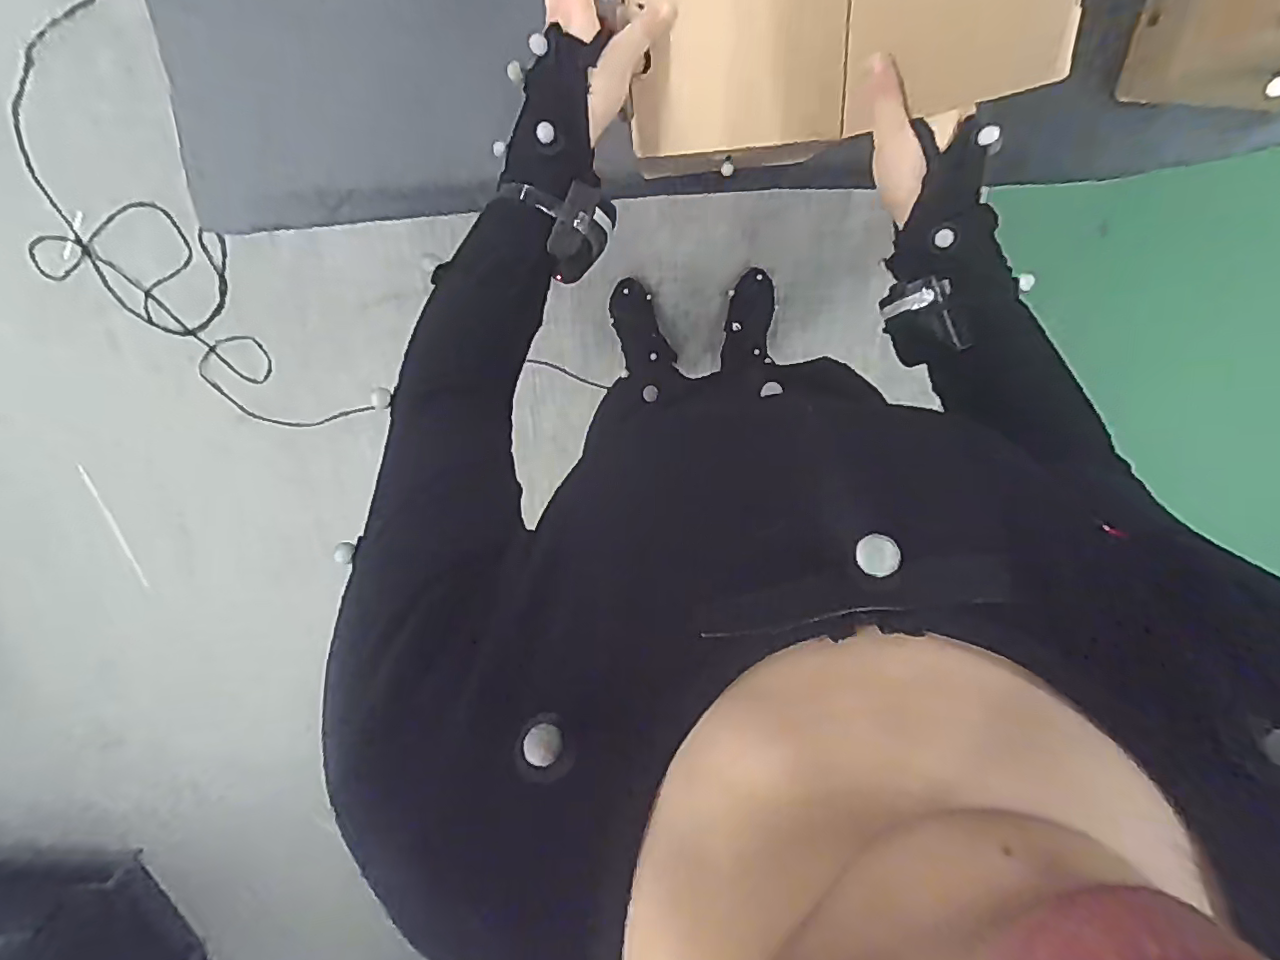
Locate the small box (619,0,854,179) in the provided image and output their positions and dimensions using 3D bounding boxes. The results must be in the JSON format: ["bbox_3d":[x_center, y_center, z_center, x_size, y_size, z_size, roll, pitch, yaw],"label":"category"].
[{"bbox_3d":[0.080,-0.375,0.486,0.179,0.176,0.168,-3,116,6],"label":"small box"}]

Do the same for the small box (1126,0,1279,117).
[{"bbox_3d":[0.563,-0.411,0.437,0.179,0.176,0.168,5,113,2],"label":"small box"}]
